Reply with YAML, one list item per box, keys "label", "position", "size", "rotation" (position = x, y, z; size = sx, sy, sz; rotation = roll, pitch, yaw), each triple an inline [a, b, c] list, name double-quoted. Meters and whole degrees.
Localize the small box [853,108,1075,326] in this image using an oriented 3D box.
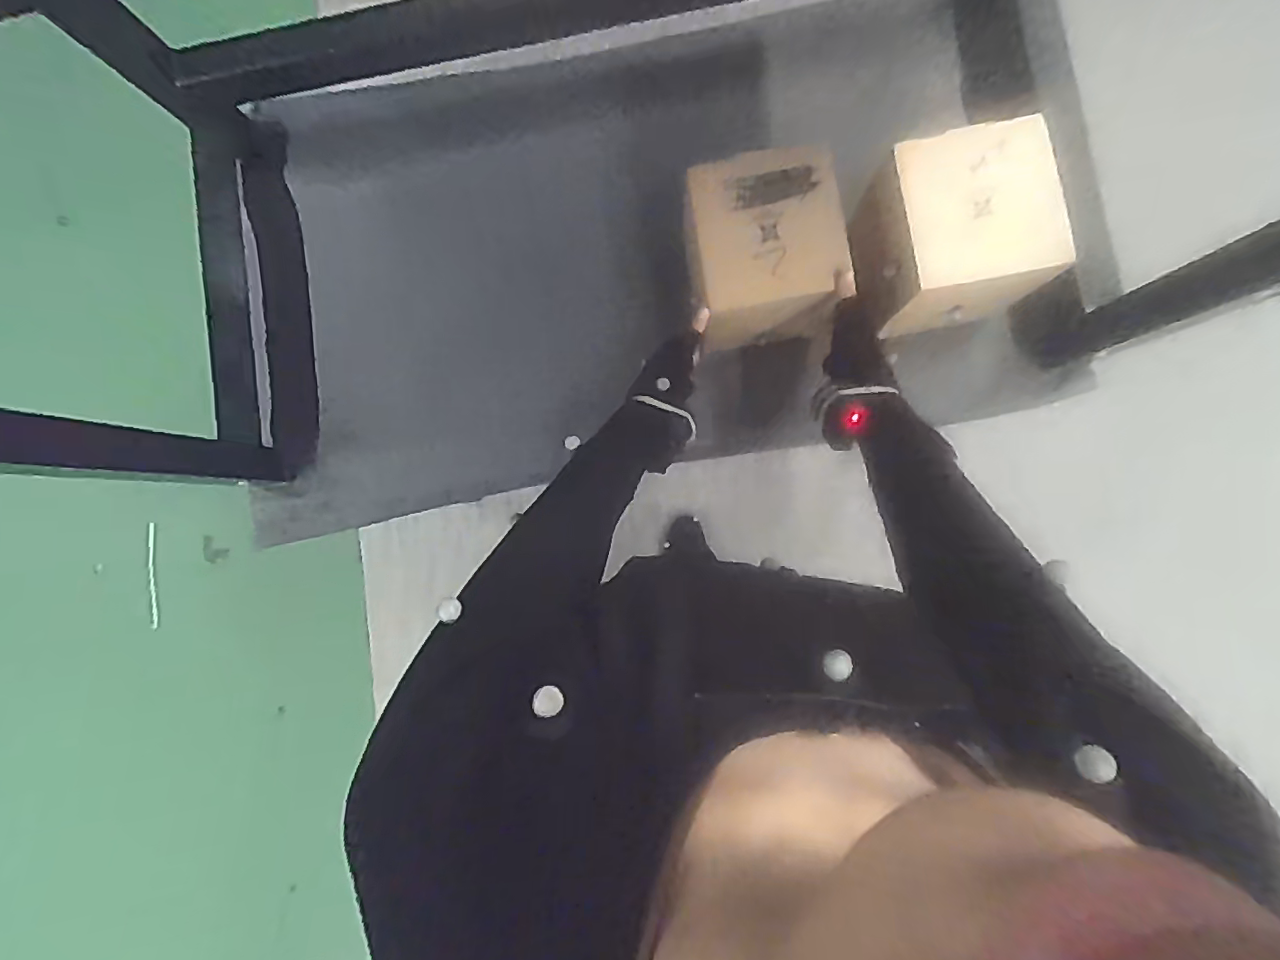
- label: "small box"
  position: [0.383, -0.305, 0.672]
  size: [0.168, 0.176, 0.179]
  rotation: [-10, 85, 5]
